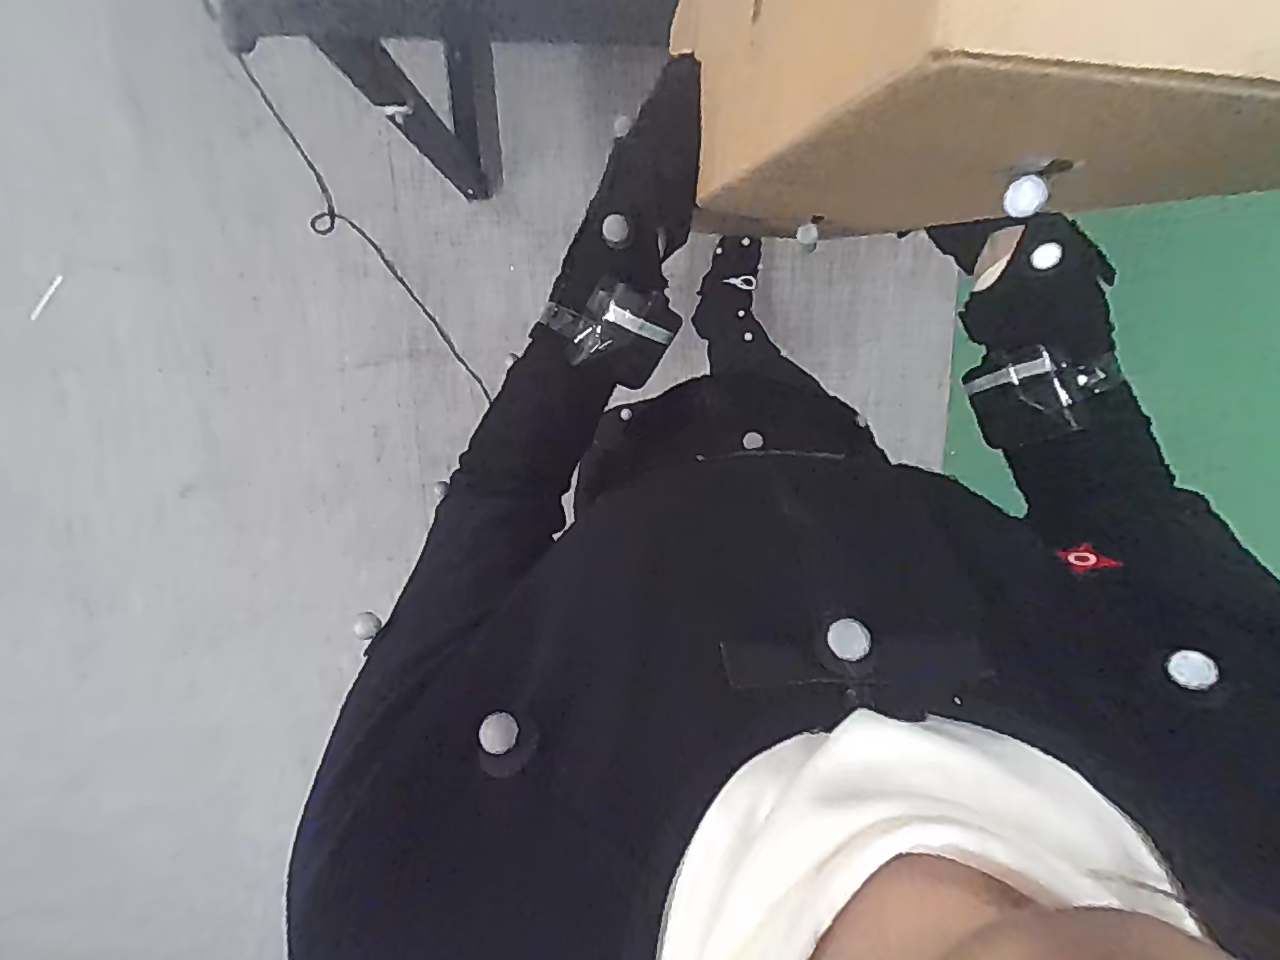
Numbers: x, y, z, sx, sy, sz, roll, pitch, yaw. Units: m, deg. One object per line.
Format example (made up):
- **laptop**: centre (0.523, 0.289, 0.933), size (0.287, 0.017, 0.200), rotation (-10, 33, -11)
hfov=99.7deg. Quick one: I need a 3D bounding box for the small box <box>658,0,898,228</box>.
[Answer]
- **small box**: centre (0.113, -0.312, 0.458), size (0.179, 0.176, 0.168), rotation (1, 111, -3)
